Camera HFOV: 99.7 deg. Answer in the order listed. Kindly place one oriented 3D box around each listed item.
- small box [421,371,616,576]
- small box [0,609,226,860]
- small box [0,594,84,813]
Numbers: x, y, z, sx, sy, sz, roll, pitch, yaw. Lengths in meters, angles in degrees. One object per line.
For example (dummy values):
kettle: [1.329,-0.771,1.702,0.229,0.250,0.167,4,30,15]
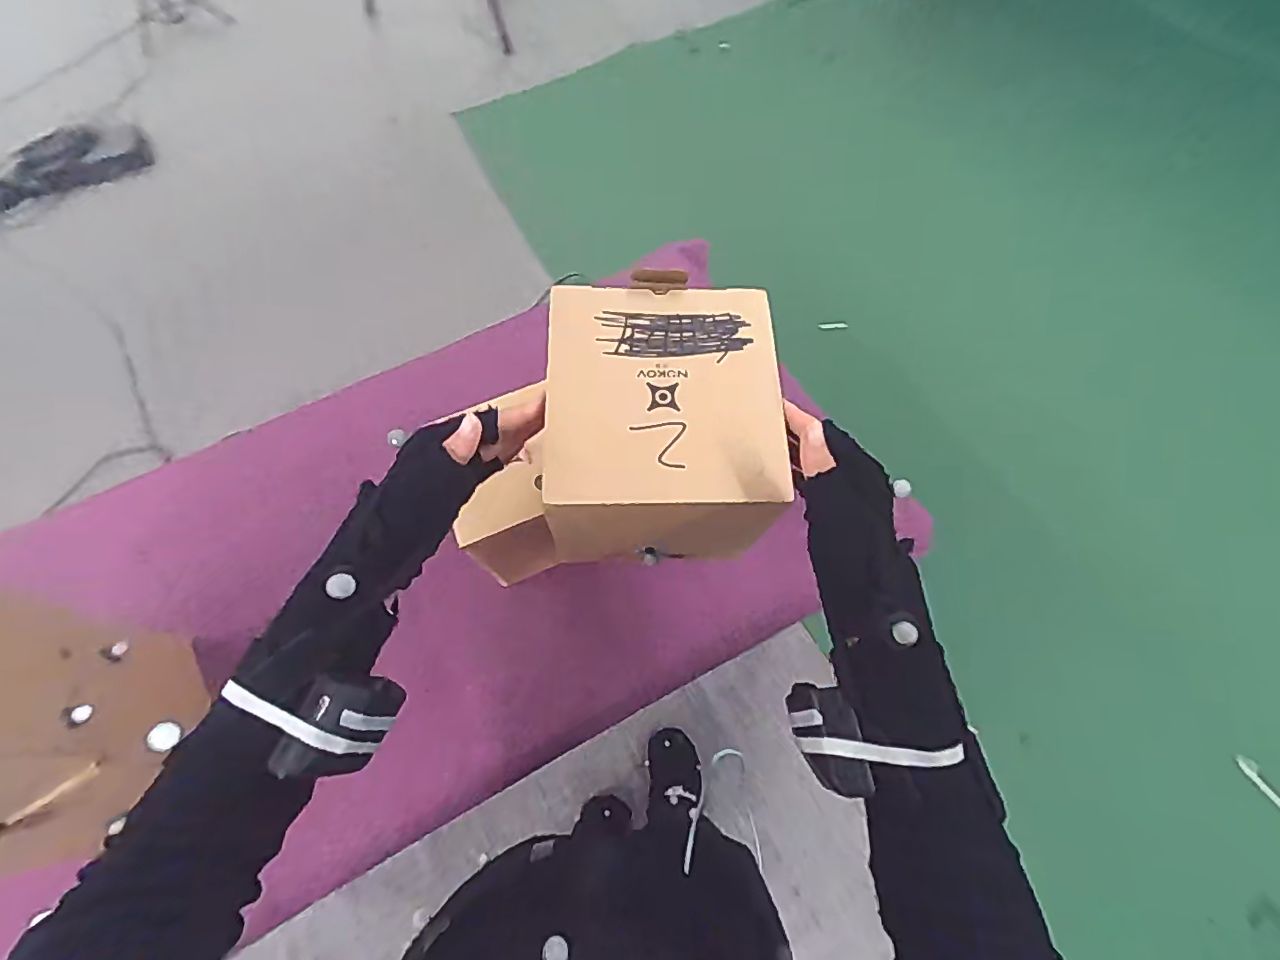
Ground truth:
small box: [-0.142,0.001,0.679,0.179,0.176,0.168,-23,66,-8]
small box: [-0.594,0.269,0.570,0.168,0.176,0.179,-34,68,-12]
small box: [-0.596,0.191,0.422,0.179,0.176,0.168,-32,66,-12]
